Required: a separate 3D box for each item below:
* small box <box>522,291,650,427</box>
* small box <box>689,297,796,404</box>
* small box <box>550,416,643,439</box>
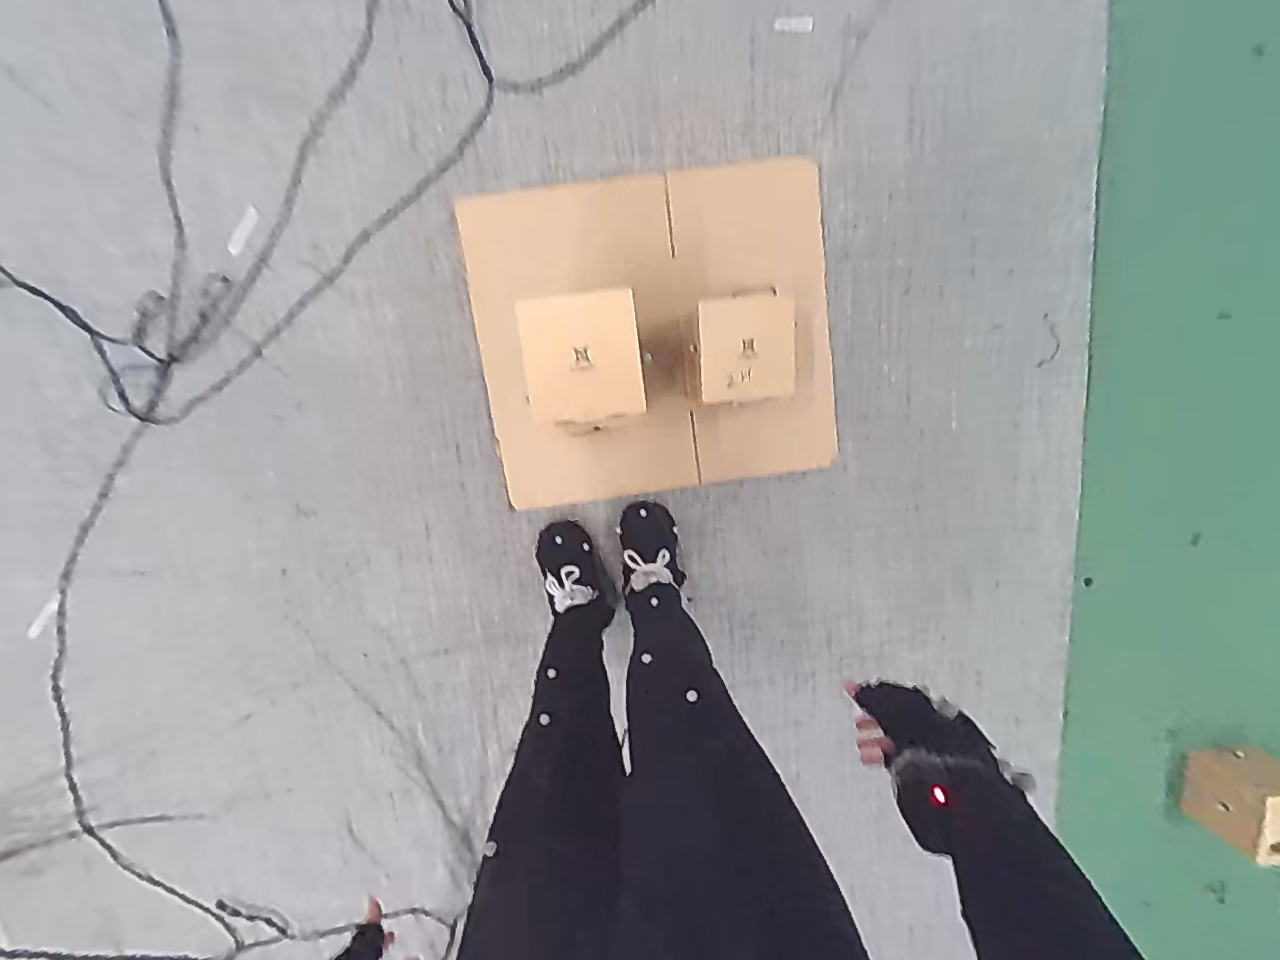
[{"bbox_3d":[-0.080,-0.182,0.842,0.168,0.176,0.179,-8,100,-2],"label":"small box"},{"bbox_3d":[0.185,-0.236,1.013,0.168,0.176,0.179,-3,101,-1],"label":"small box"},{"bbox_3d":[-0.088,-0.182,1.007,0.168,0.176,0.179,-10,100,-1],"label":"small box"}]
